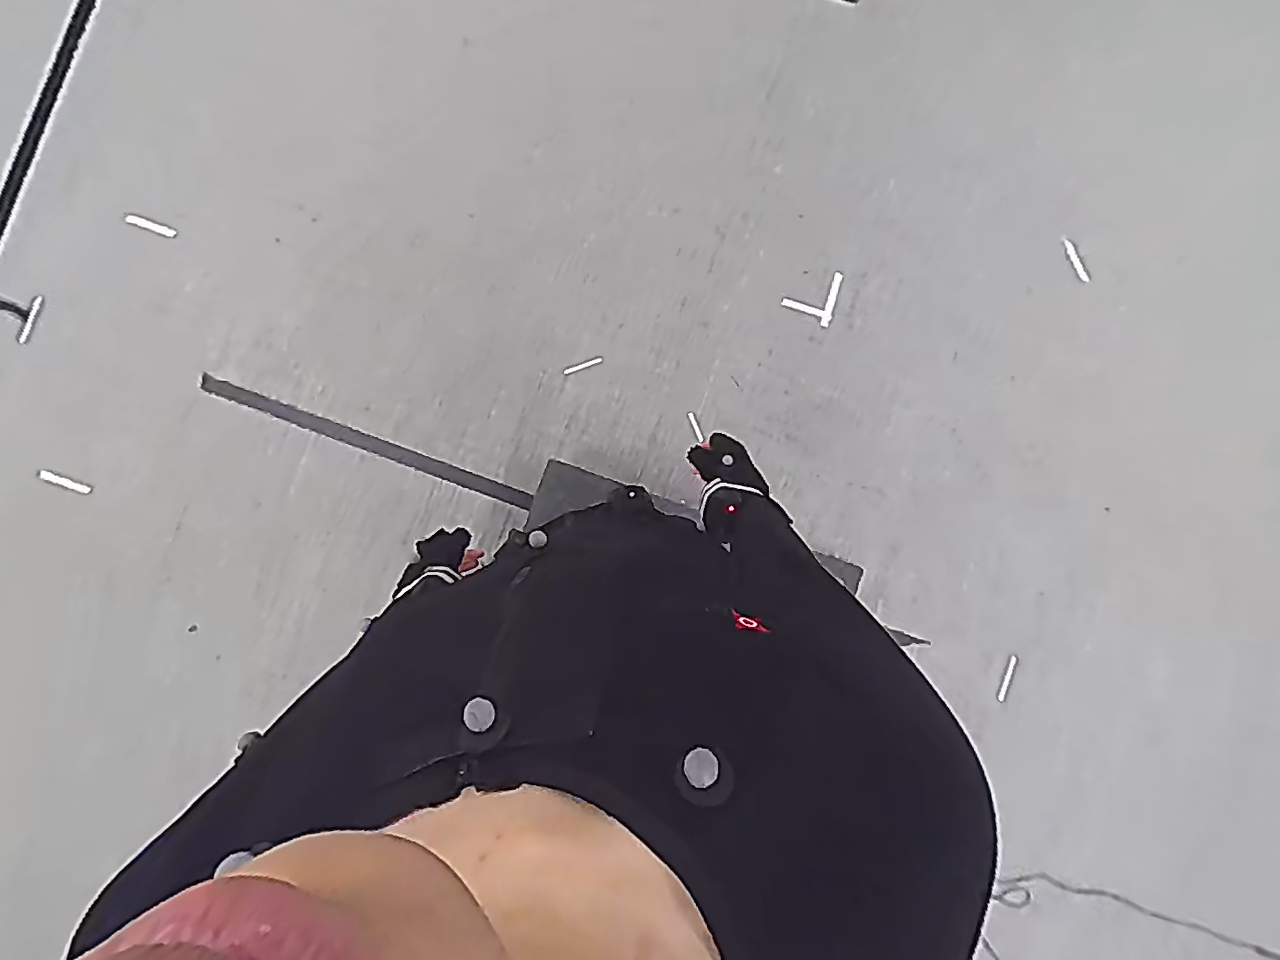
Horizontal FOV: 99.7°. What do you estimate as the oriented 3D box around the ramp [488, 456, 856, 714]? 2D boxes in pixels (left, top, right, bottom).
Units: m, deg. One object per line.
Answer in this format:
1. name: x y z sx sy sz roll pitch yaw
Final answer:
1. ramp: 0.129 0.318 1.545 0.991 0.206 0.509 17 87 -1
